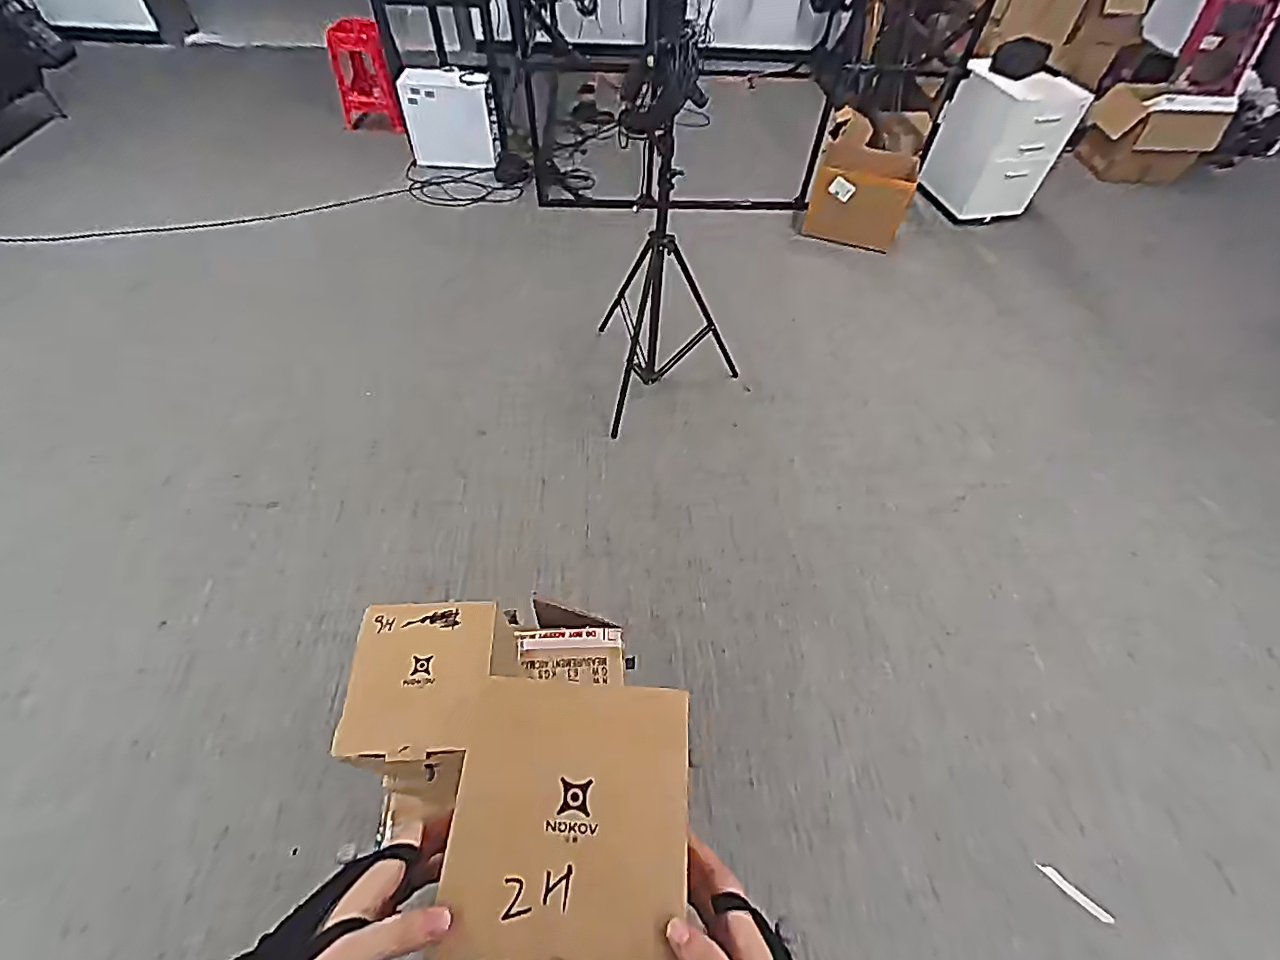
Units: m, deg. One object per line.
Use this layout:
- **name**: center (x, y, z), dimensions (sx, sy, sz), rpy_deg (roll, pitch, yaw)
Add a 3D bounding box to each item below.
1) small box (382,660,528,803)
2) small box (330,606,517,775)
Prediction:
- **small box**: center (-0.265, 0.379, 0.822), dimensions (0.168, 0.176, 0.179), rpy_deg (-3, 57, -4)
- **small box**: center (-0.258, 0.275, 0.695), dimensions (0.168, 0.176, 0.179), rpy_deg (-2, 57, -3)
